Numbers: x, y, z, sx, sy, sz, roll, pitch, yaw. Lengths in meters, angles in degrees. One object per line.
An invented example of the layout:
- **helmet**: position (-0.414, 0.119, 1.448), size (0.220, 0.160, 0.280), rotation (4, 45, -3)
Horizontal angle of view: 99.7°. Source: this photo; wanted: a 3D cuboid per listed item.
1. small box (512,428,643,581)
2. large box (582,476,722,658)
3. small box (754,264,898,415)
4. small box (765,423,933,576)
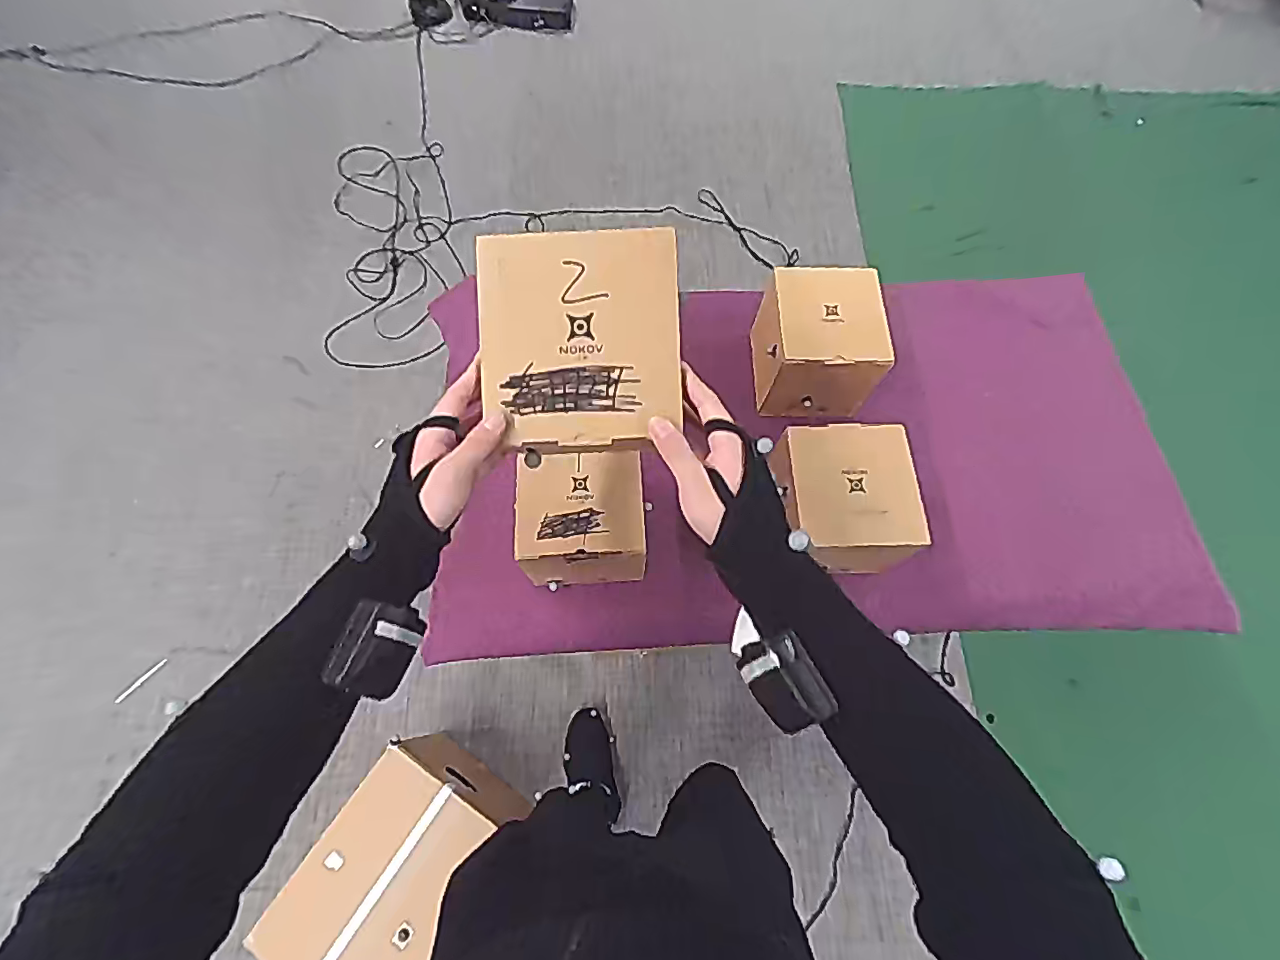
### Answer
- **small box**: position (-0.080, 0.043, 0.765), size (0.168, 0.176, 0.179), rotation (-3, 67, -2)
- **large box**: position (0.019, 0.236, 1.404), size (0.320, 0.320, 0.408), rotation (-1, 68, -2)
- **small box**: position (0.287, -0.222, 0.879), size (0.168, 0.176, 0.179), rotation (0, 70, -1)
- **small box**: position (0.282, 0.033, 0.777), size (0.168, 0.176, 0.179), rotation (-1, 68, 0)
